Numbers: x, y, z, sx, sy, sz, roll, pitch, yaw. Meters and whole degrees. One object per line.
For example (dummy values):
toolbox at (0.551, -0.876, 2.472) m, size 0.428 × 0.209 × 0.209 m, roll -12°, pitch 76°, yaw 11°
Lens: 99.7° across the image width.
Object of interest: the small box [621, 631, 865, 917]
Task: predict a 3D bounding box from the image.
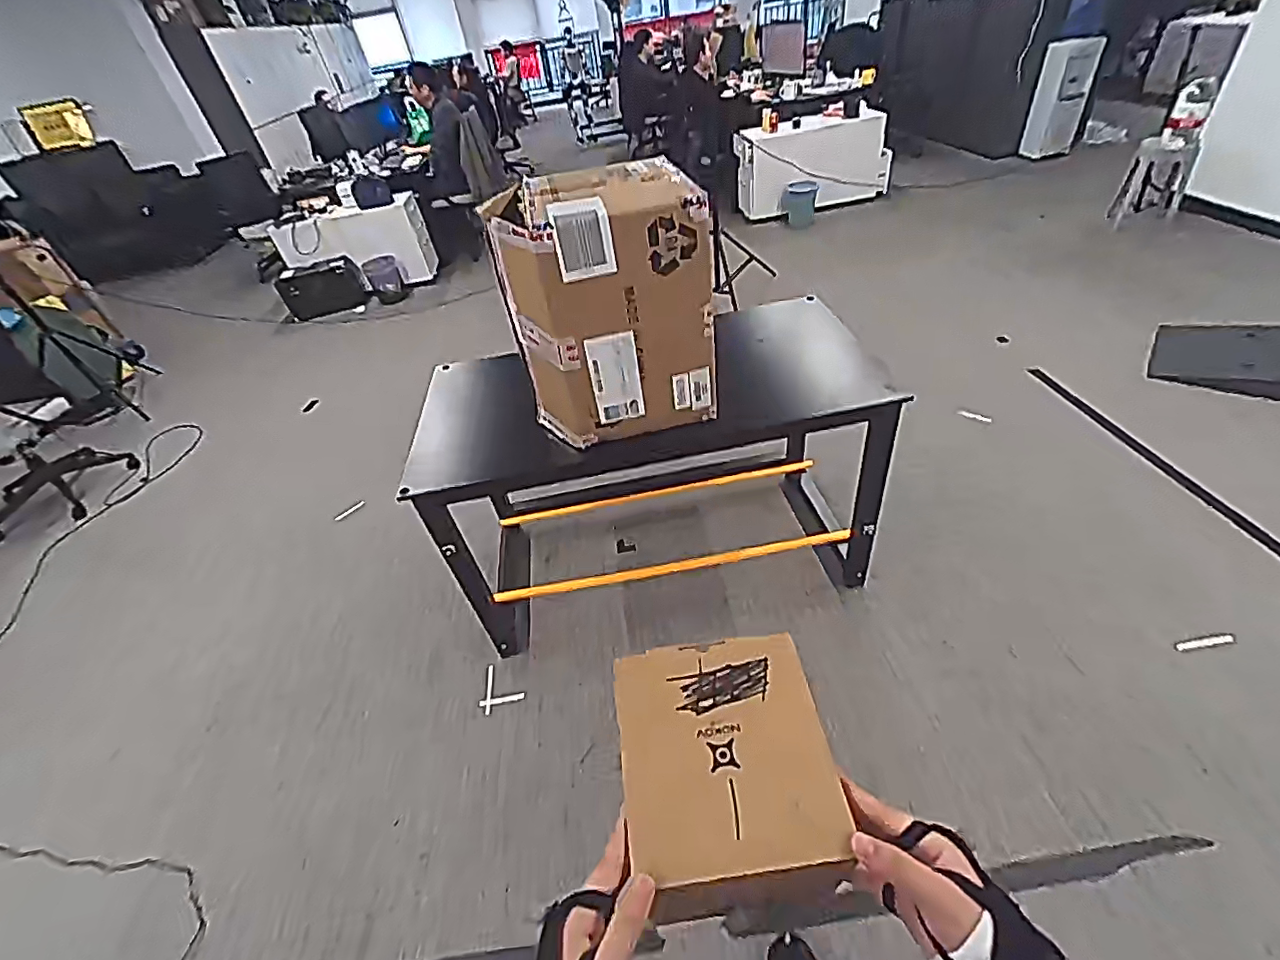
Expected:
small box at (0.077, 0.267, 0.495) m, size 0.168 × 0.176 × 0.179 m, roll -8°, pitch 44°, yaw -1°
